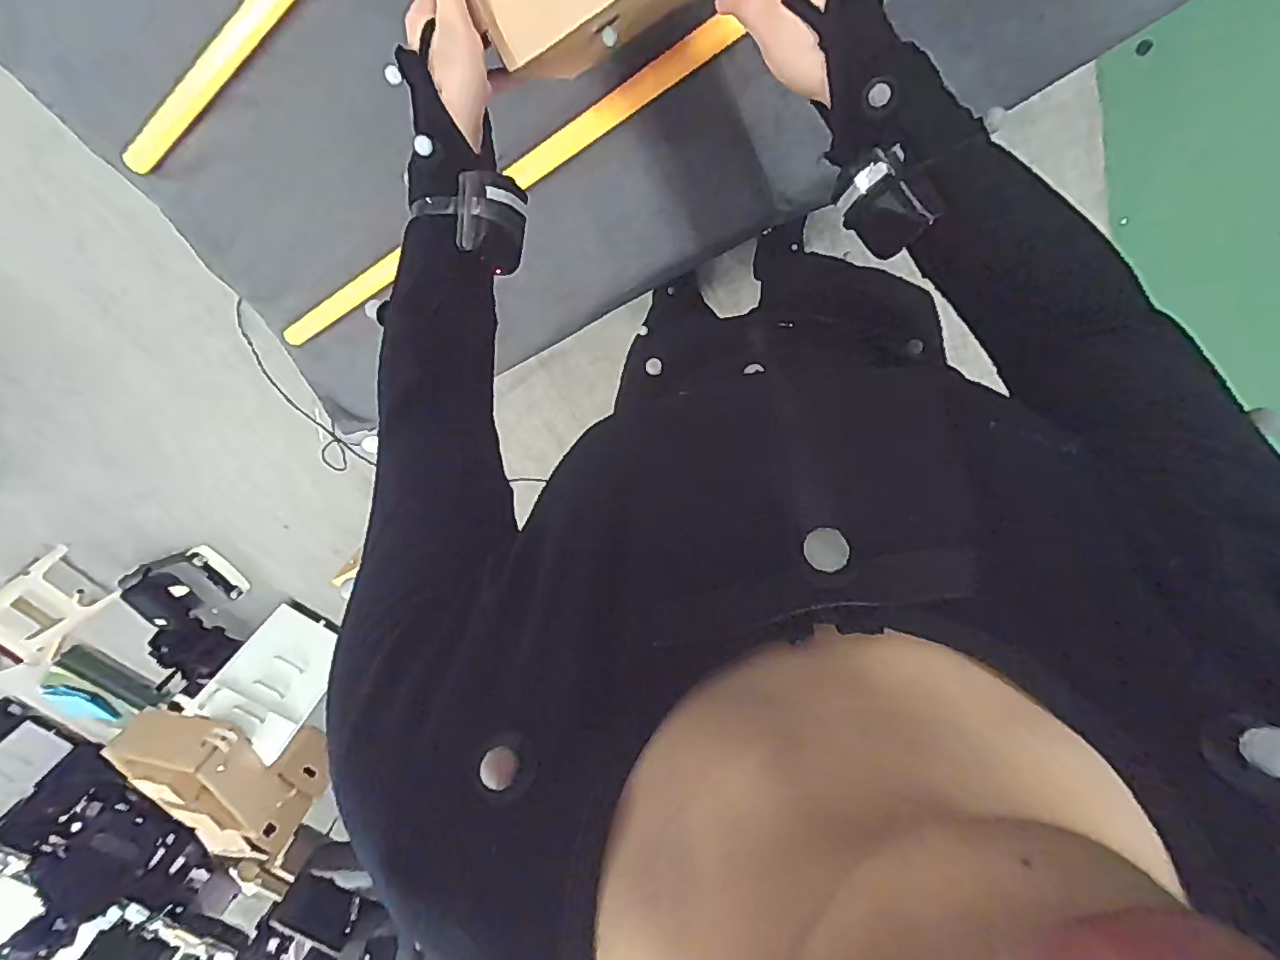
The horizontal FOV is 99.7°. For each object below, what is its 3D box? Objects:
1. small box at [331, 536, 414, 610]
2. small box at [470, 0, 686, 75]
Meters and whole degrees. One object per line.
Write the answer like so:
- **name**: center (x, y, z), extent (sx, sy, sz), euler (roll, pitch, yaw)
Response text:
- **small box**: center (-0.924, 0.323, 1.893), extent (0.179, 0.176, 0.168), euler (-24, 118, 28)
- **small box**: center (-0.044, -0.437, 0.404), extent (0.179, 0.176, 0.168), euler (-16, 121, 23)
